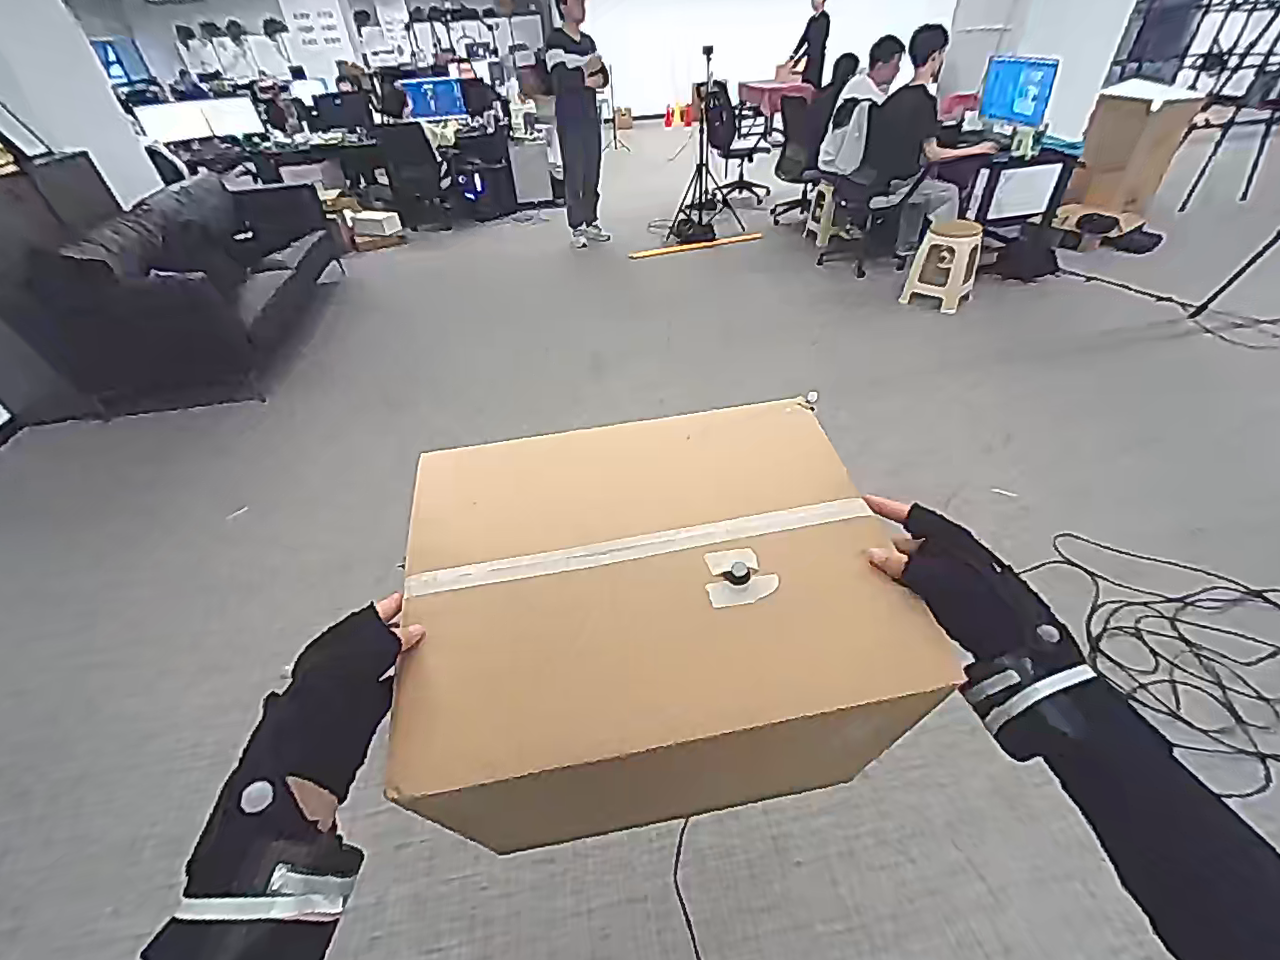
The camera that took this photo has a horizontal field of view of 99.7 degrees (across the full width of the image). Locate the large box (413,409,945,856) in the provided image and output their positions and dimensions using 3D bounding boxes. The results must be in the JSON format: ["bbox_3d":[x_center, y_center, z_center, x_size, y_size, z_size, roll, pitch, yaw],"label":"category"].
[{"bbox_3d":[0.014,0.166,0.592,0.408,0.320,0.320,-10,50,-5],"label":"large box"}]
